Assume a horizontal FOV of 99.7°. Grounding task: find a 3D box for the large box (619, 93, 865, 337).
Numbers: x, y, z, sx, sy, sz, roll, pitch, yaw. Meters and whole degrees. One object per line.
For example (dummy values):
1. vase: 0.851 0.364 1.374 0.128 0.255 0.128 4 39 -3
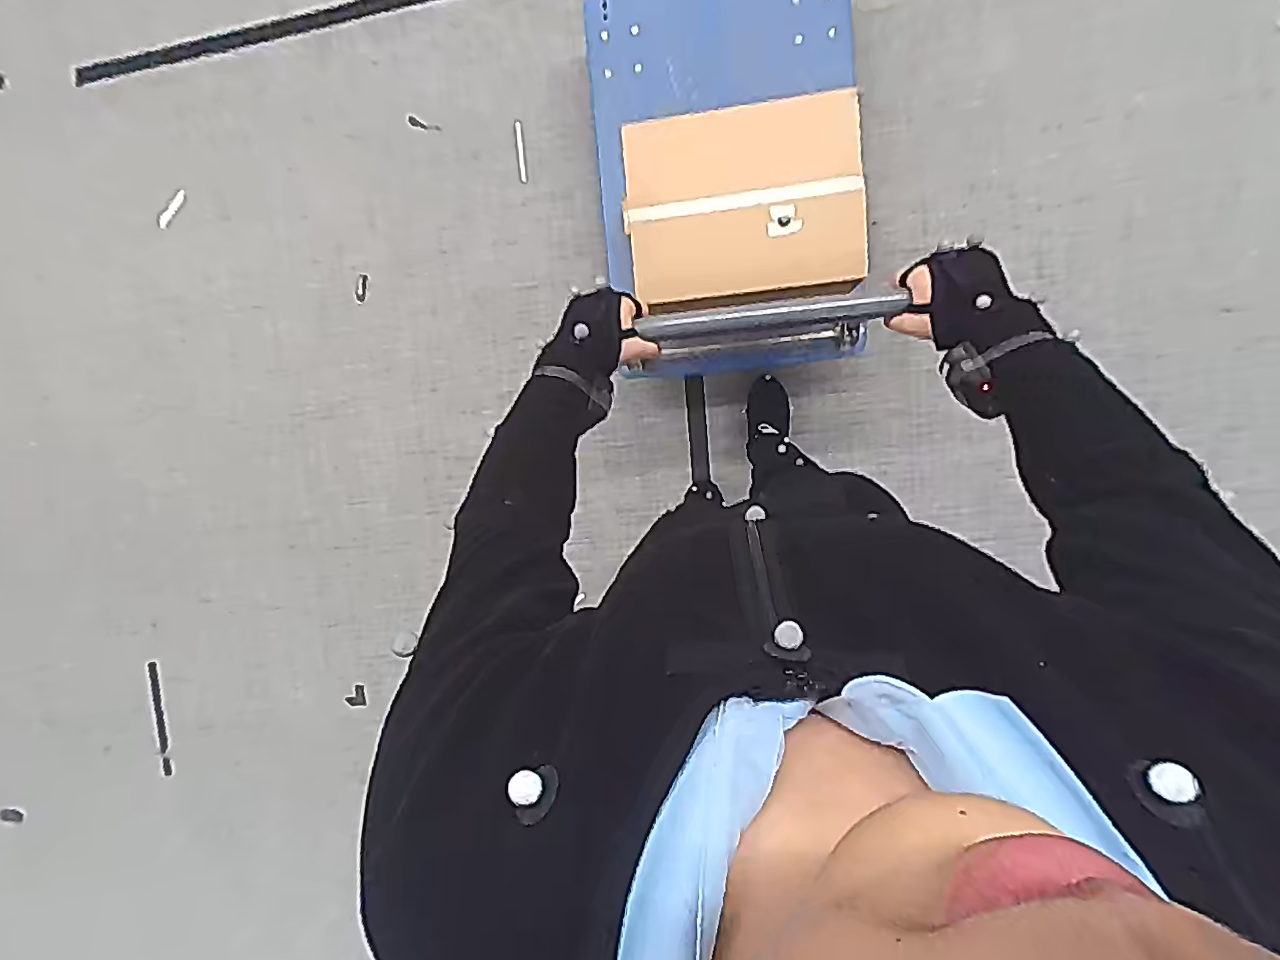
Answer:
1. large box: 0.189 -0.490 1.083 0.408 0.320 0.320 -5 96 7
